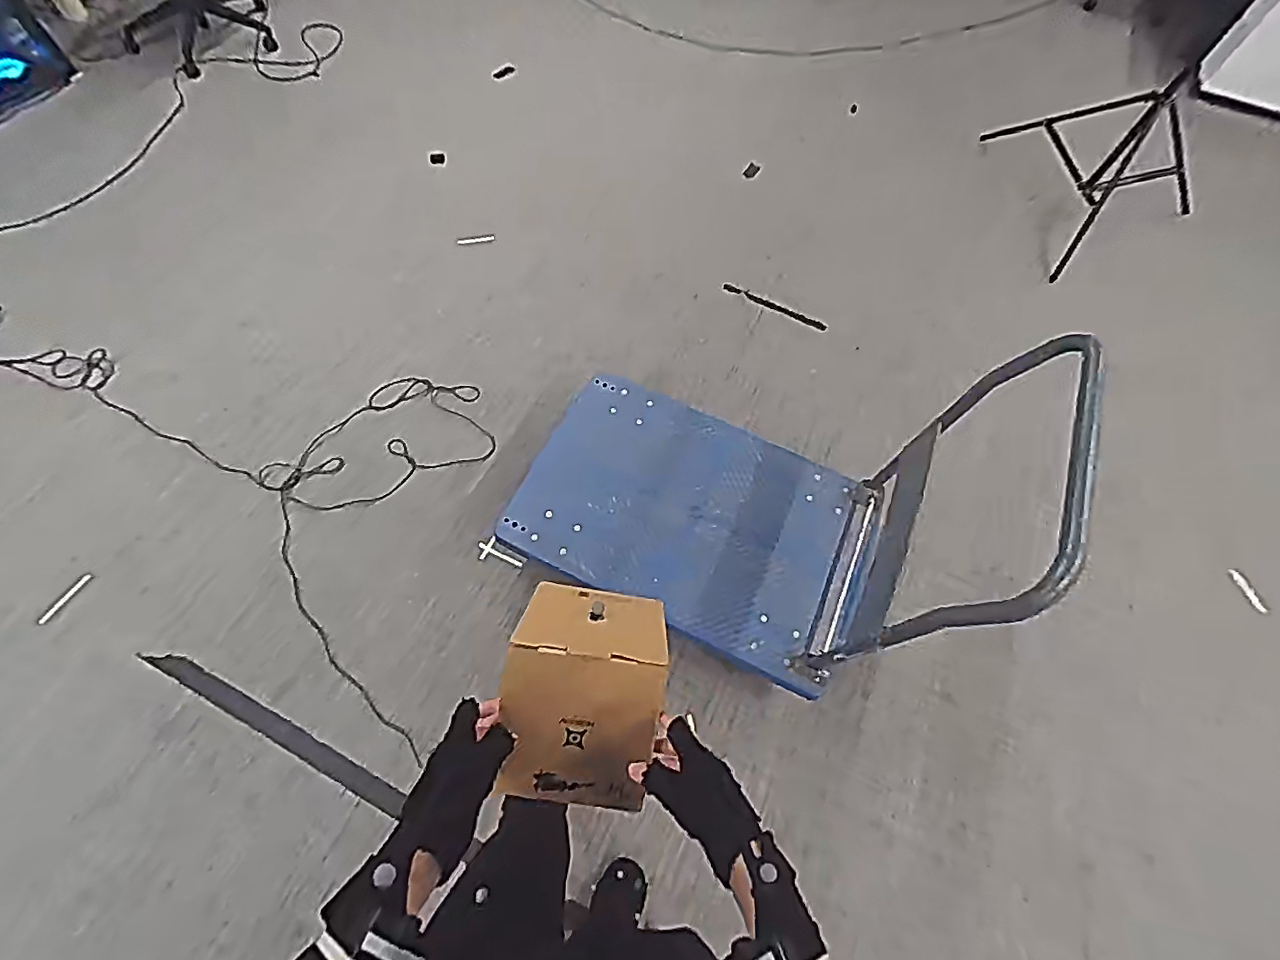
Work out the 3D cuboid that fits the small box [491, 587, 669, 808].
[{"bbox_3d":[-0.065,0.242,0.642,0.168,0.176,0.179,9,99,-1],"label":"small box"}]
